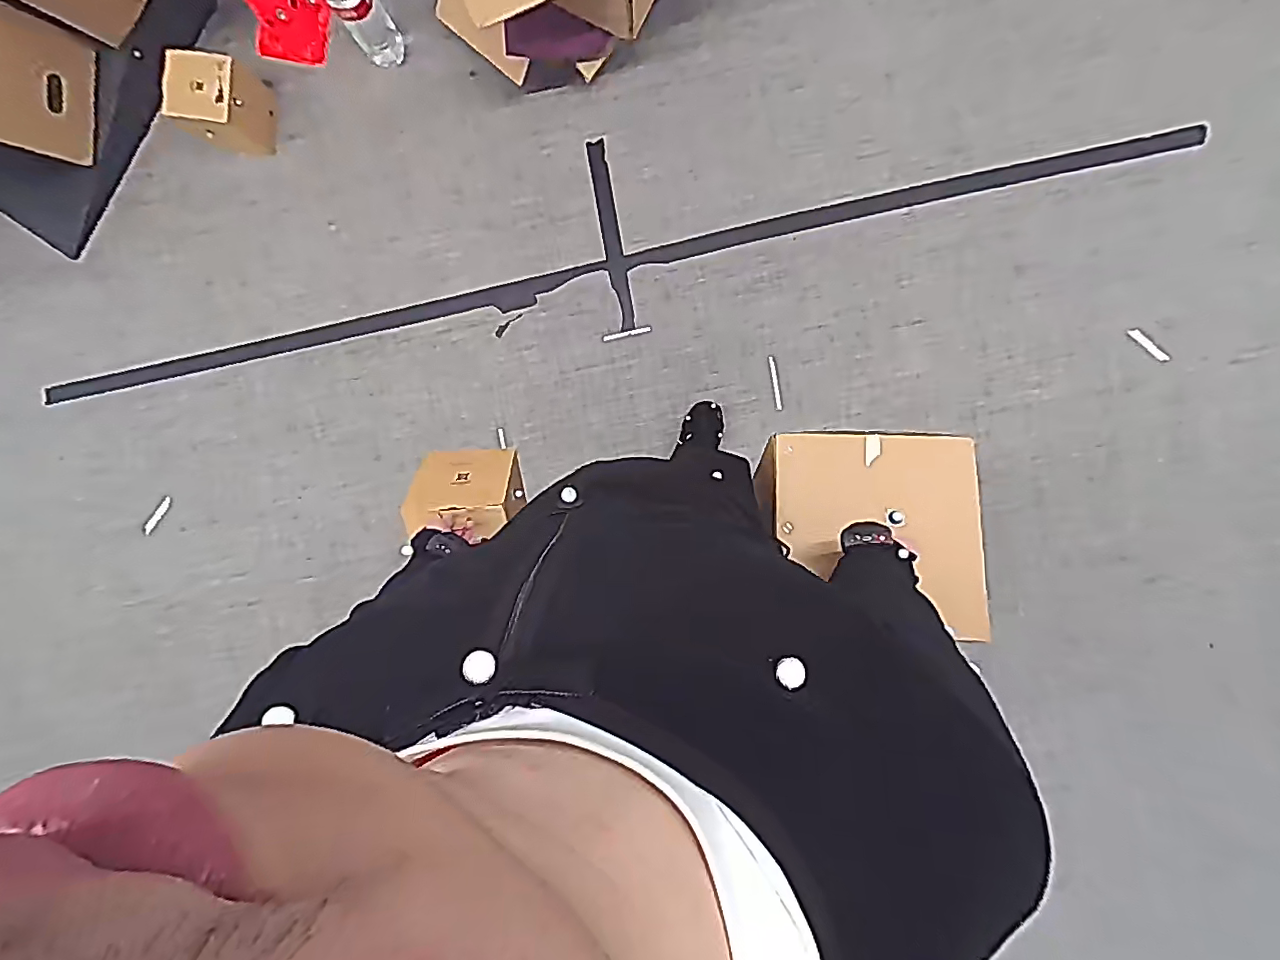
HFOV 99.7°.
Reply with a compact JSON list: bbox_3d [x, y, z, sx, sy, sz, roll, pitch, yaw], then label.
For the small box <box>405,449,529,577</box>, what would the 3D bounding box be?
[{"bbox_3d":[-0.303,0.064,0.990,0.168,0.179,0.176,-4,125,-2],"label":"small box"}]
